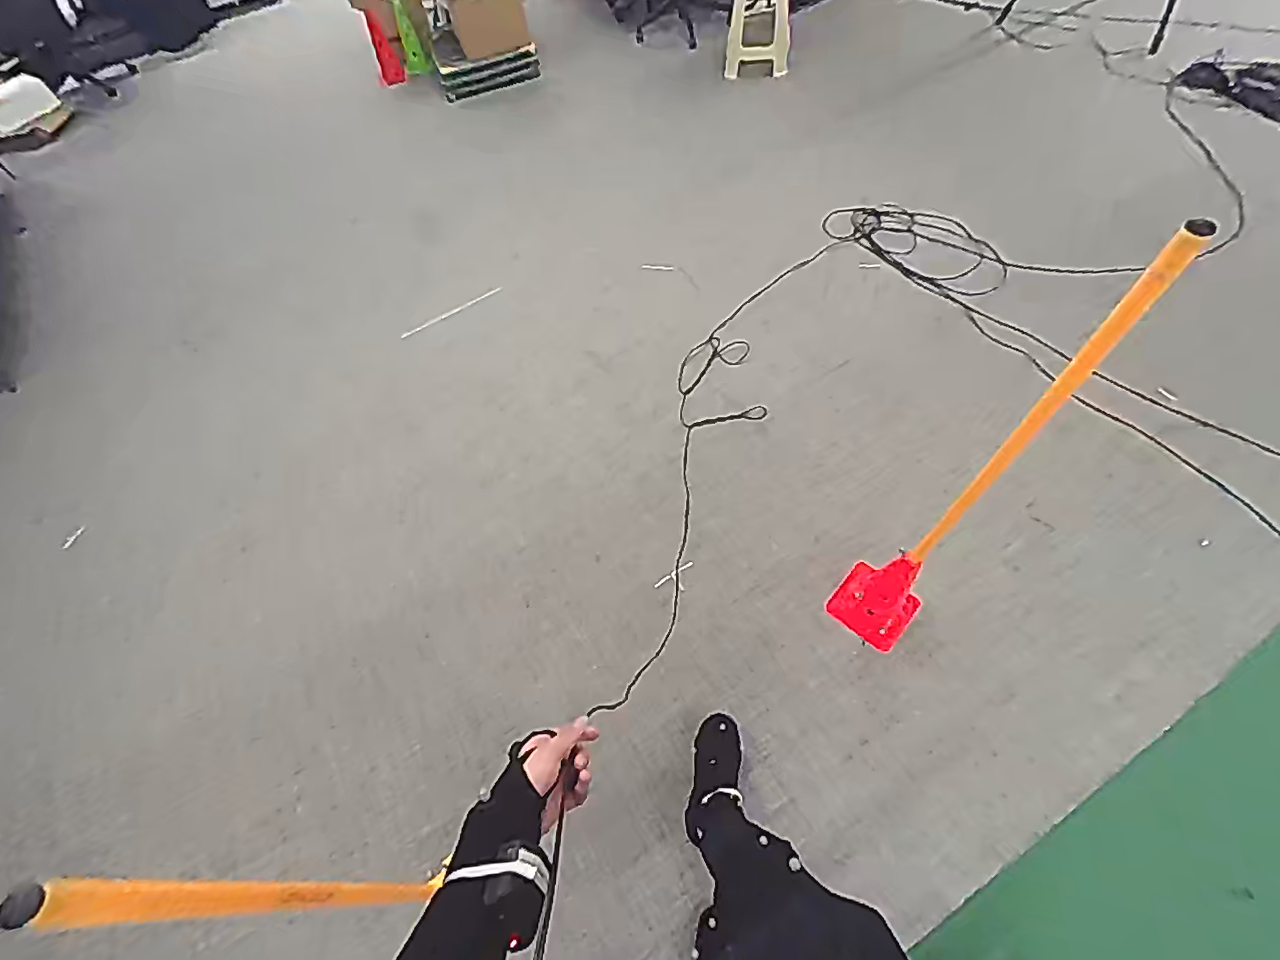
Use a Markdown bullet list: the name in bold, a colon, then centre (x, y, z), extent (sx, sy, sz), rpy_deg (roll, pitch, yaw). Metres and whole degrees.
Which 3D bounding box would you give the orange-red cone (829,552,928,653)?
- **orange-red cone**: centre (0.645, 0.268, 1.370), extent (0.198, 0.360, 0.199), rpy_deg (38, 69, 24)
